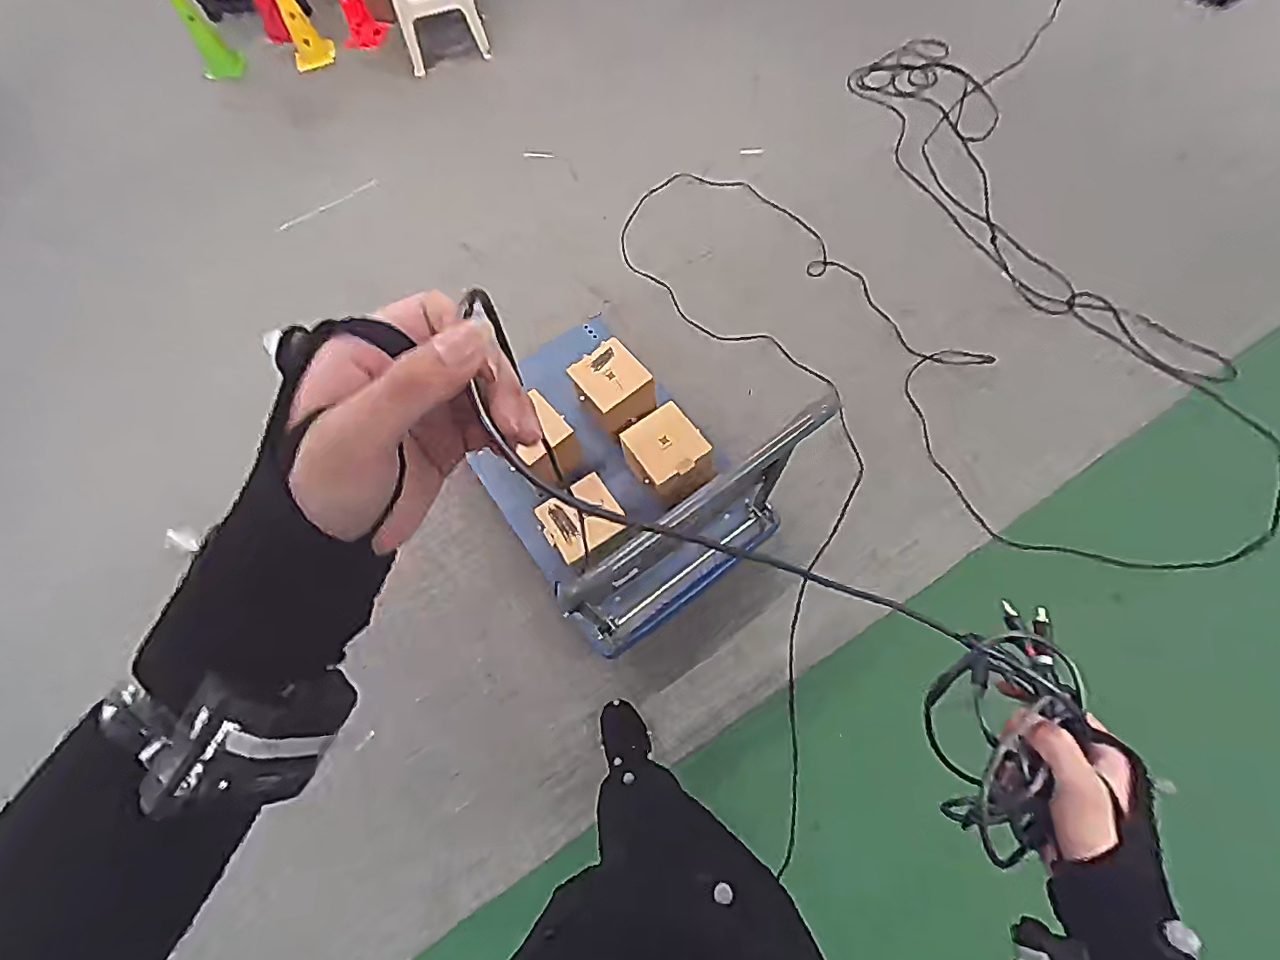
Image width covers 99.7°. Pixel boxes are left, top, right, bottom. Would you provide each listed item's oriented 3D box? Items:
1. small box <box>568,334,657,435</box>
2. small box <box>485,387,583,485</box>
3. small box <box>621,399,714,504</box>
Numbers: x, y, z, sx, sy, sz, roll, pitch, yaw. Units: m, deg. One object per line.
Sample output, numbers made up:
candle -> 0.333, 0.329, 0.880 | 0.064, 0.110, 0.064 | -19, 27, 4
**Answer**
small box -> -0.070, -0.254, 1.479 | 0.168, 0.176, 0.179 | -38, 70, -9
small box -> -0.273, -0.106, 1.436 | 0.168, 0.176, 0.179 | -39, 70, -11
small box -> 0.072, -0.068, 1.391 | 0.168, 0.176, 0.179 | -34, 69, -9
